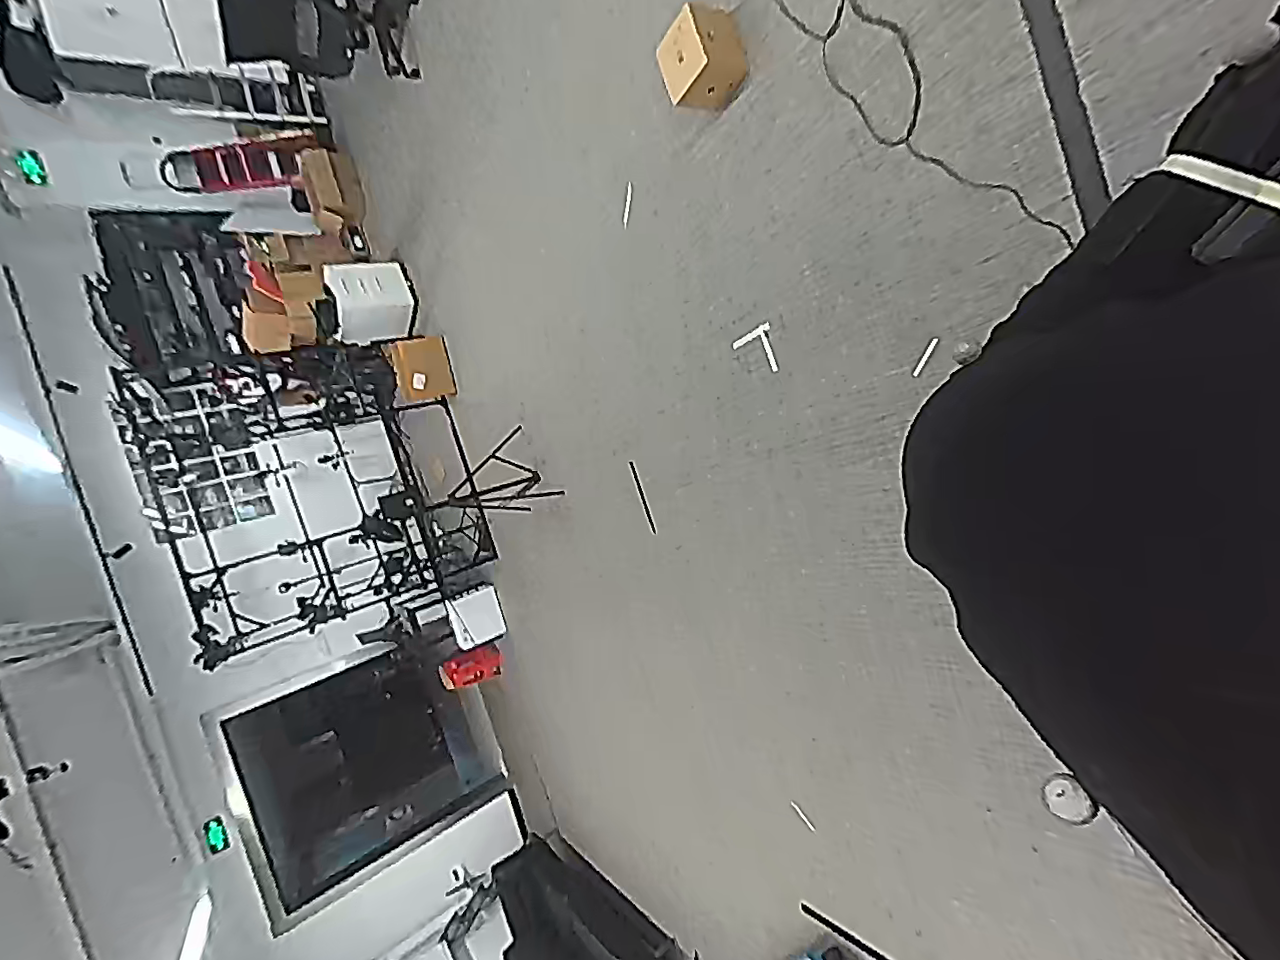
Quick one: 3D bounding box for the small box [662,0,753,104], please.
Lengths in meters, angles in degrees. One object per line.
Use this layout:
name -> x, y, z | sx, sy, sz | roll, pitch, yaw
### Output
small box -> 0.197, -1.223, 1.557 | 0.168, 0.176, 0.179 | -19, 90, 58
